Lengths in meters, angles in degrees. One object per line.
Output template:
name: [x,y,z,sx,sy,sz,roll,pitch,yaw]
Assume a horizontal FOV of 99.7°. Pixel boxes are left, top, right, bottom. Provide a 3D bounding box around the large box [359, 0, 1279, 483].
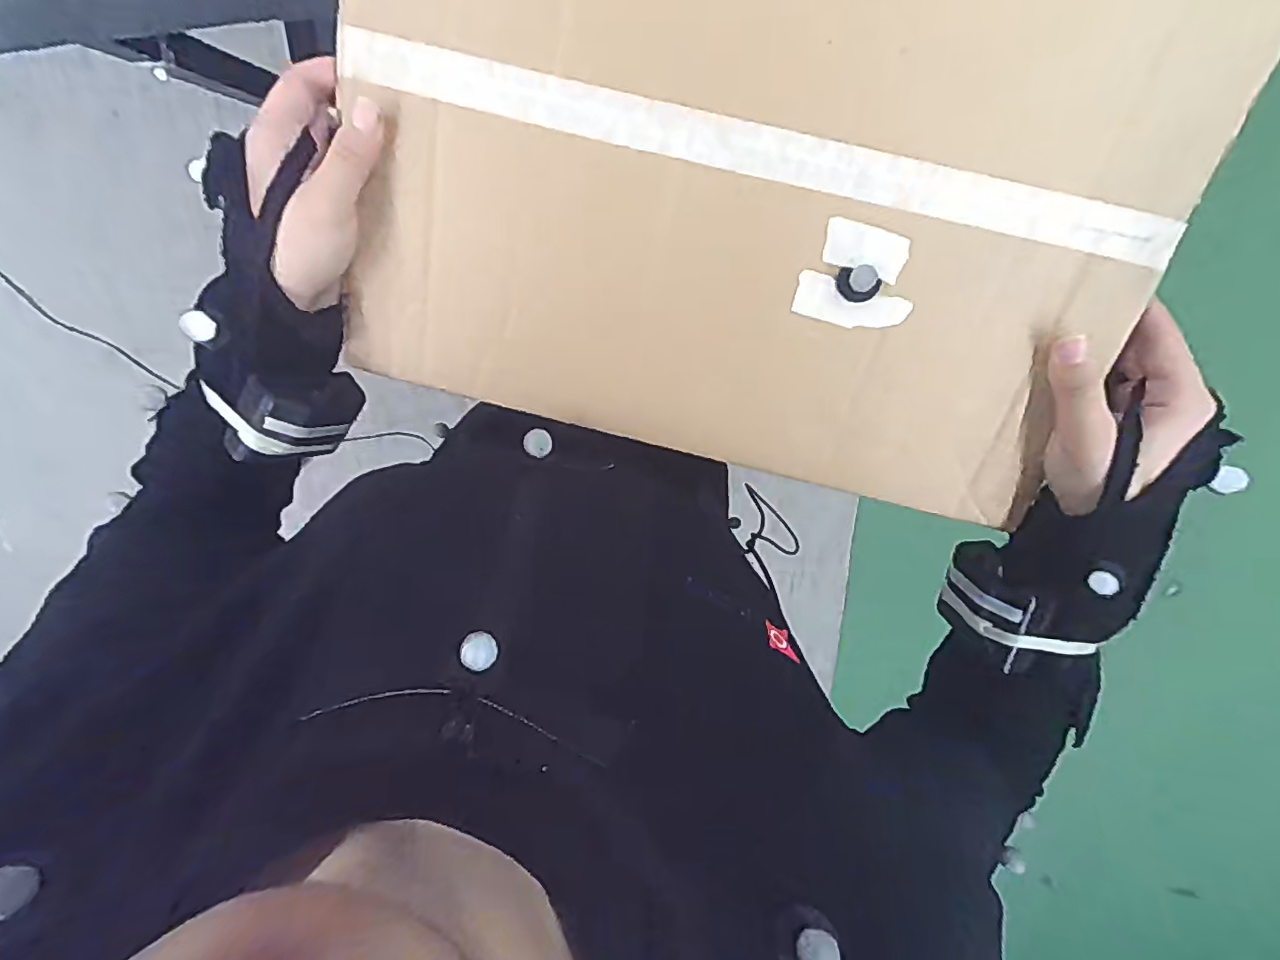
large box: [0.072,-0.229,0.396,0.408,0.320,0.320,13,113,1]
